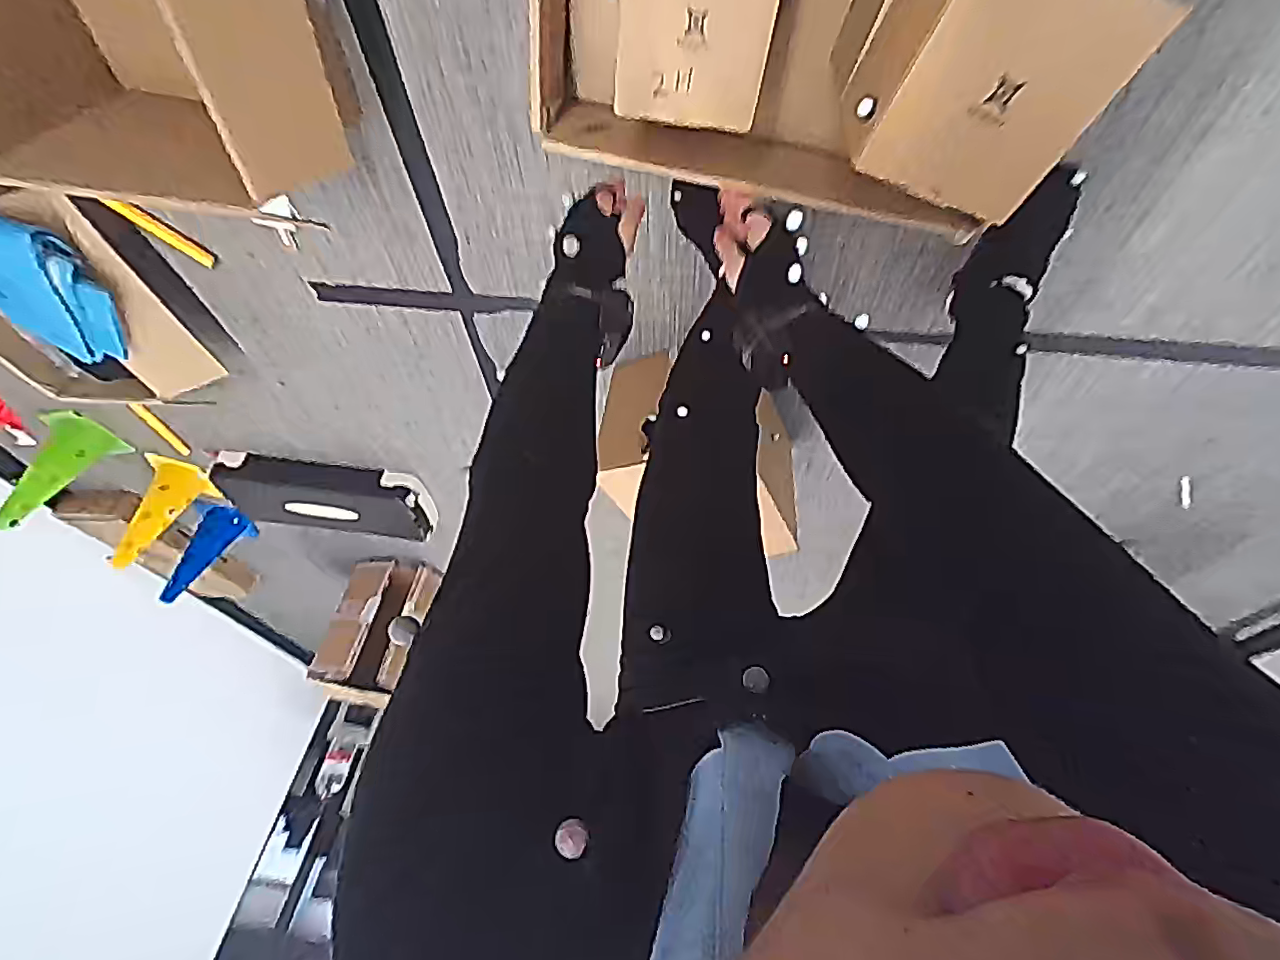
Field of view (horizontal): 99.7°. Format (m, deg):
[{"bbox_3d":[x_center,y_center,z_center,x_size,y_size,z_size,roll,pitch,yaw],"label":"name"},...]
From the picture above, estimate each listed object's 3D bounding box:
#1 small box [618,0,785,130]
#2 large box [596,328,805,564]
[{"bbox_3d":[0.070,-0.539,0.618,0.168,0.176,0.179,8,143,0],"label":"small box"},{"bbox_3d":[0.152,-0.055,1.211,0.320,0.320,0.408,-12,140,27],"label":"large box"}]
